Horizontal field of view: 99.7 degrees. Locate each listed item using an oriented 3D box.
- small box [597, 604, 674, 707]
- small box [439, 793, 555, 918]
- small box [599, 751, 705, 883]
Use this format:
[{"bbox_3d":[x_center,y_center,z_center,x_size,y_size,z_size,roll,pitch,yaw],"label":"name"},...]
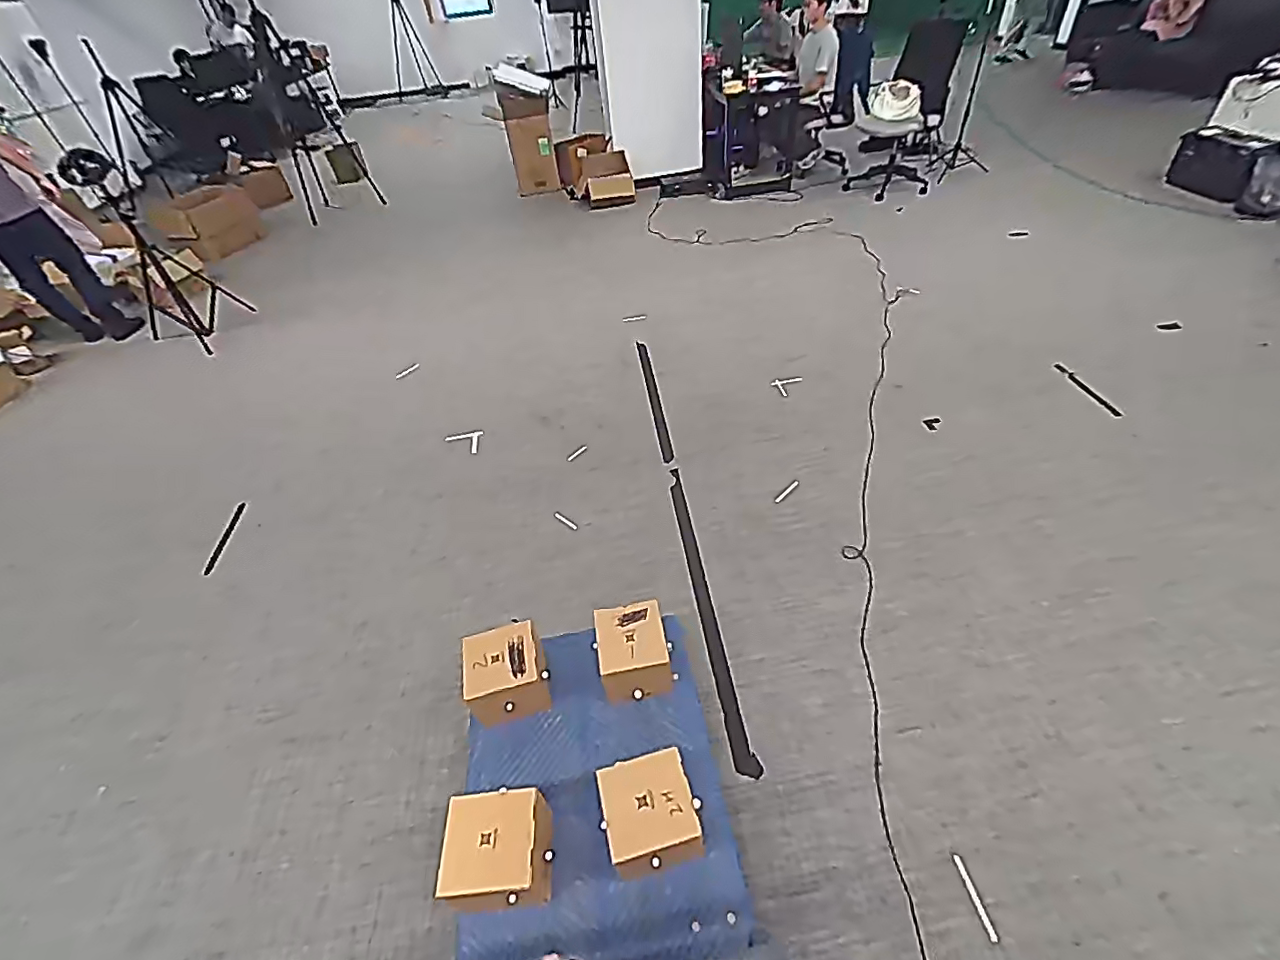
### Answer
[{"bbox_3d":[-0.012,0.441,1.359,0.168,0.176,0.179,-10,45,-2],"label":"small box"},{"bbox_3d":[-0.275,0.751,1.079,0.179,0.176,0.168,-6,43,-1],"label":"small box"},{"bbox_3d":[0.026,0.687,1.098,0.179,0.176,0.168,-14,44,-6],"label":"small box"}]
